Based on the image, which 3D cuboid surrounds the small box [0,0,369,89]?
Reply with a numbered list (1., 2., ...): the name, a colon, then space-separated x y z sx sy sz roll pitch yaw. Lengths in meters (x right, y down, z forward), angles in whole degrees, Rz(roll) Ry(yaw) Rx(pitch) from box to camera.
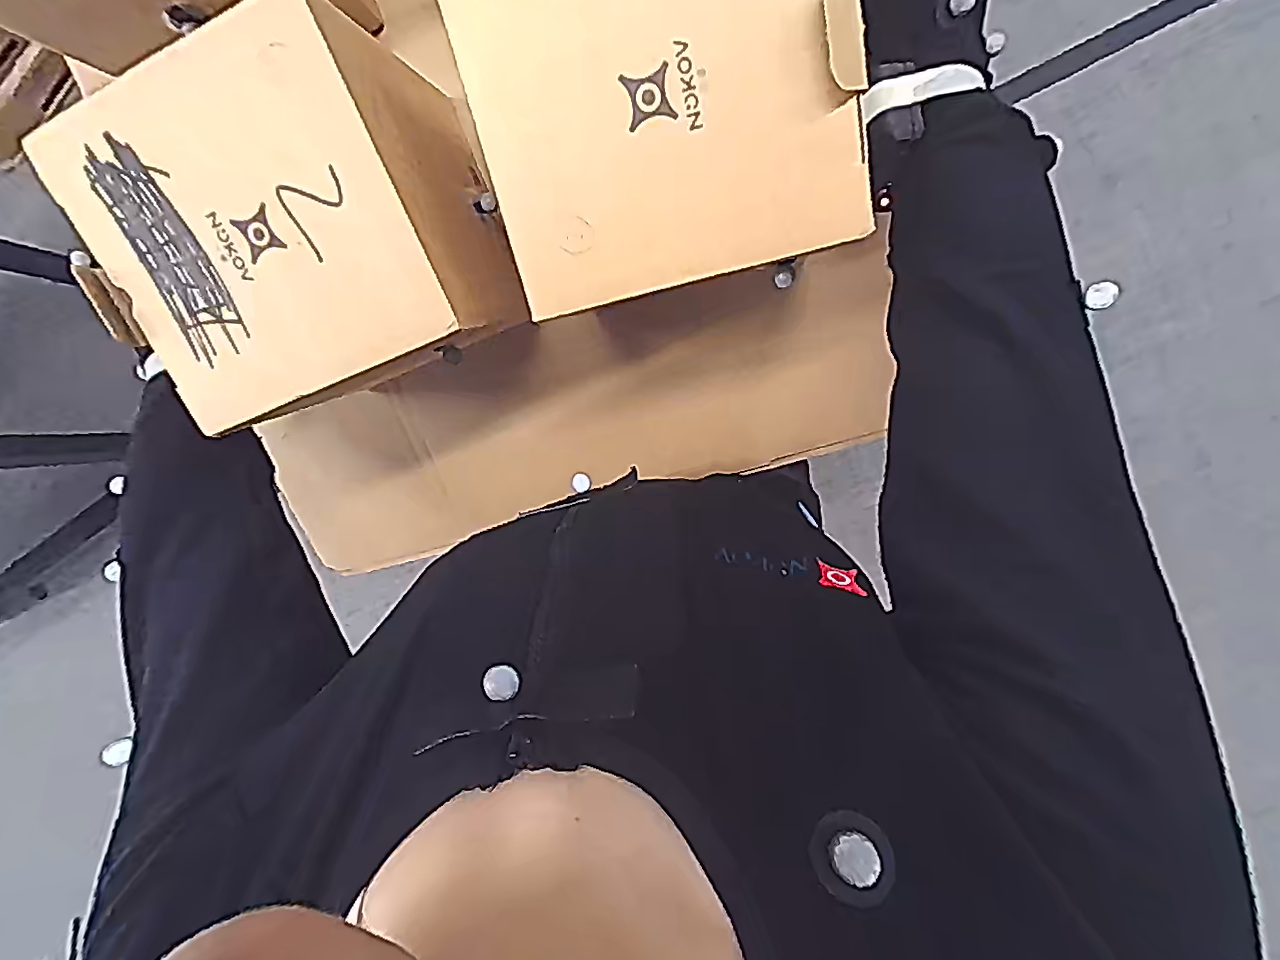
1. small box: -0.296 -0.366 0.309 0.168 0.176 0.179 -16 101 10
